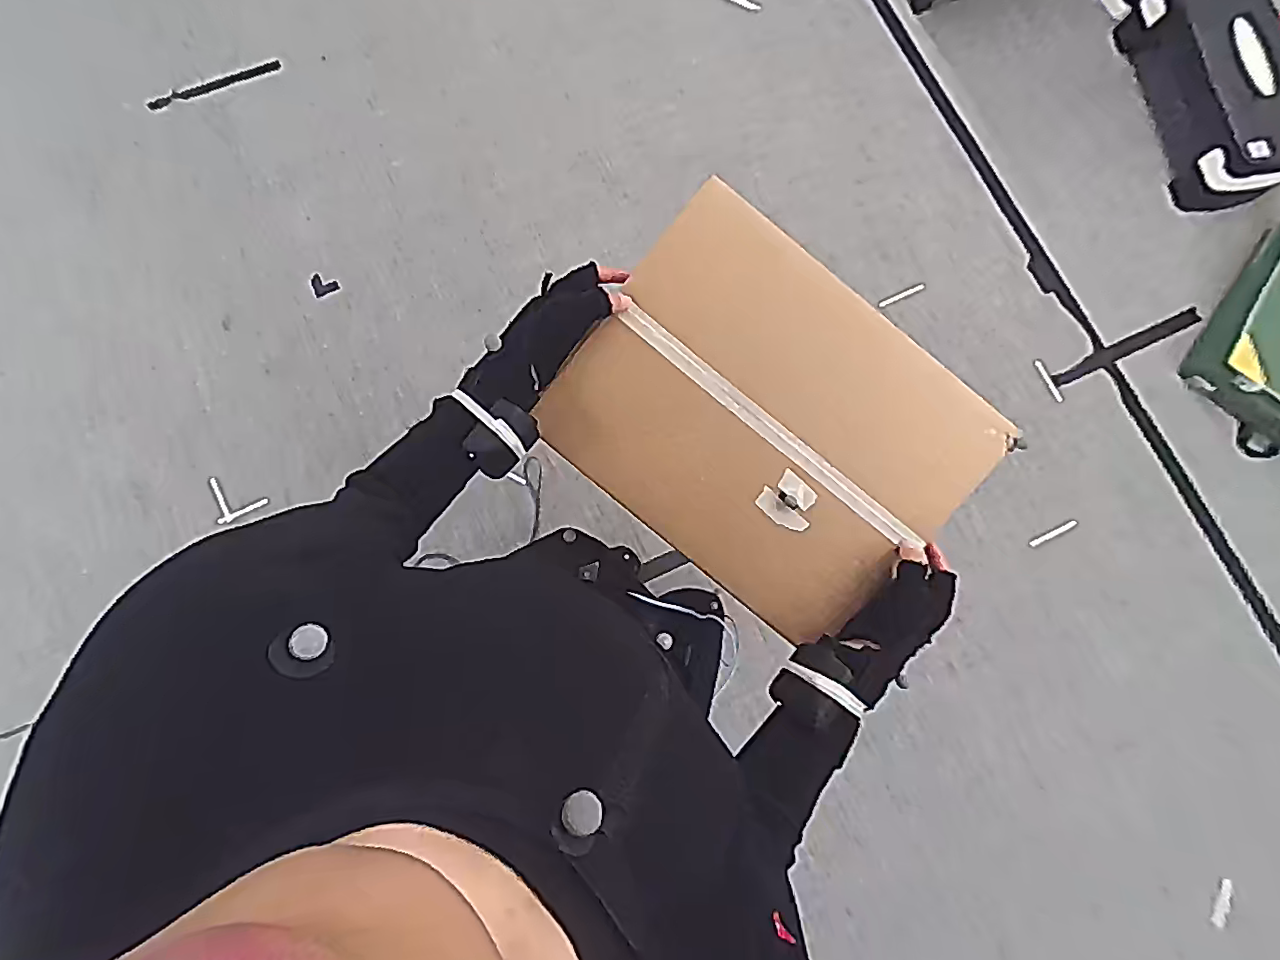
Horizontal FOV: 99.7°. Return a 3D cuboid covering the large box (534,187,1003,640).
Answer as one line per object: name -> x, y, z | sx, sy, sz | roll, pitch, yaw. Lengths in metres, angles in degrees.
large box -> 0.134, -0.075, 0.716 | 0.408, 0.320, 0.320 | 40, 95, -2
